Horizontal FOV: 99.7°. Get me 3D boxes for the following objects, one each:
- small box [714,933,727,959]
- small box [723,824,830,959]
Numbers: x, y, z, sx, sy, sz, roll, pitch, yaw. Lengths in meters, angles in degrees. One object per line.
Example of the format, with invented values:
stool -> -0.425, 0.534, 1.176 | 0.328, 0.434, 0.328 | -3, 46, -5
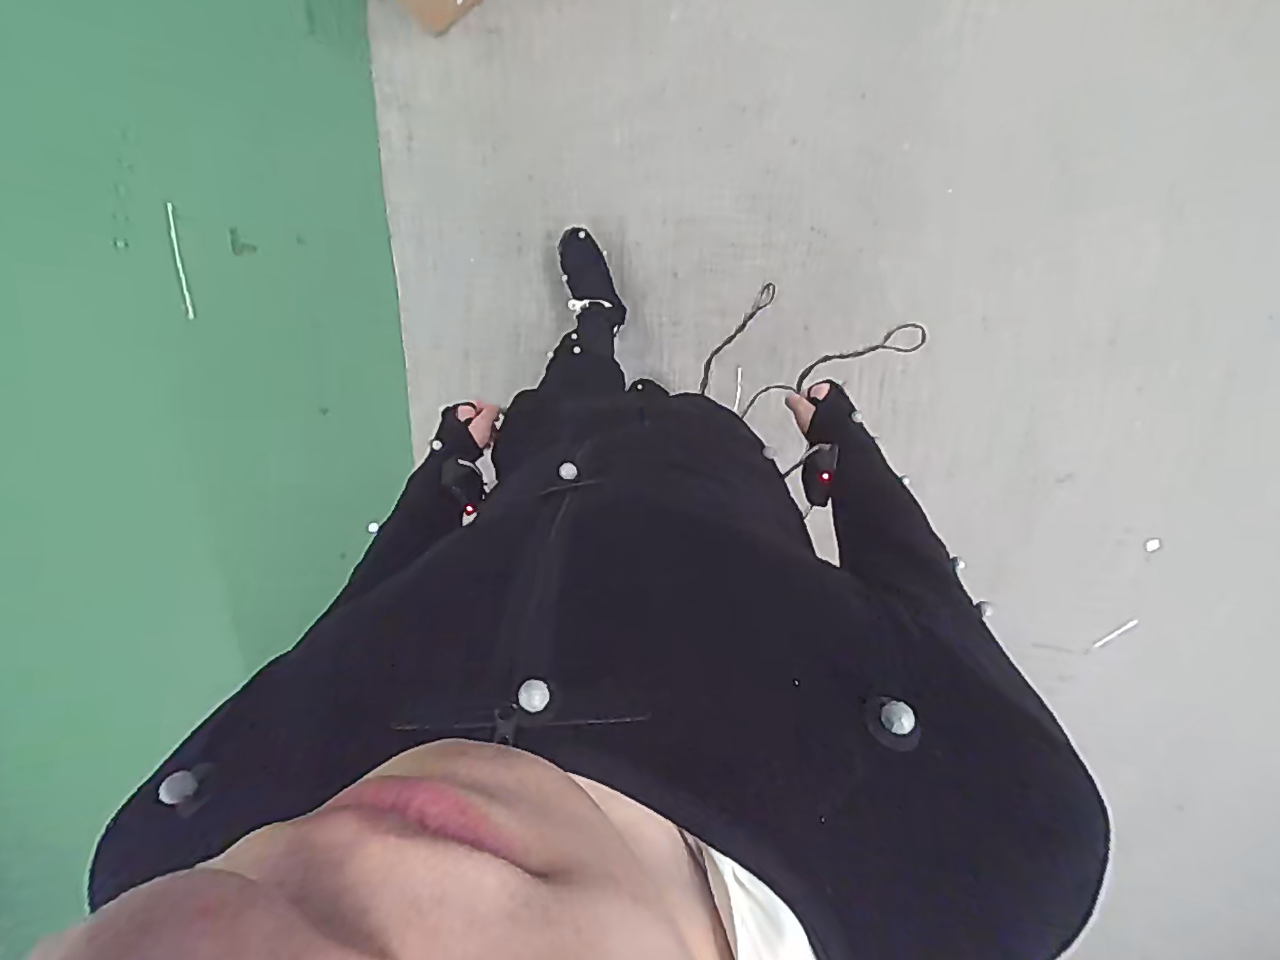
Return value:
small box -> 0.242, 1.069, 1.098 | 0.179, 0.176, 0.168 | 3, 106, 5
small box -> 0.246, 0.791, 1.014 | 0.168, 0.176, 0.179 | 0, 108, 4
